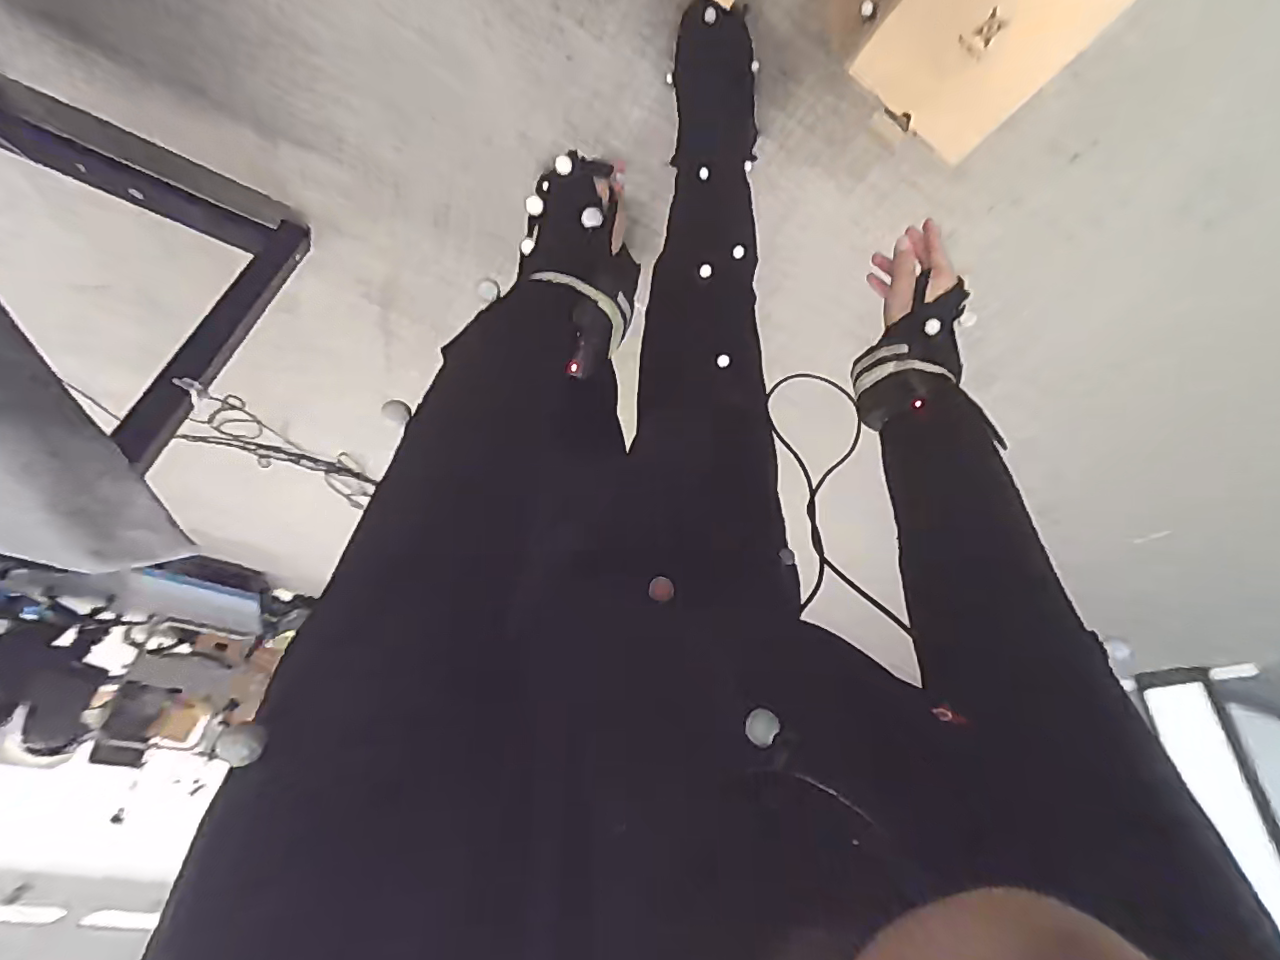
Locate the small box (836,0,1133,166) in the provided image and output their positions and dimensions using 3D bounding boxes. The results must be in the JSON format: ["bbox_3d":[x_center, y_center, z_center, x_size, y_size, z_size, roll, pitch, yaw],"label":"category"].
[{"bbox_3d":[0.314,-0.466,0.525,0.168,0.176,0.179,22,144,-22],"label":"small box"}]
